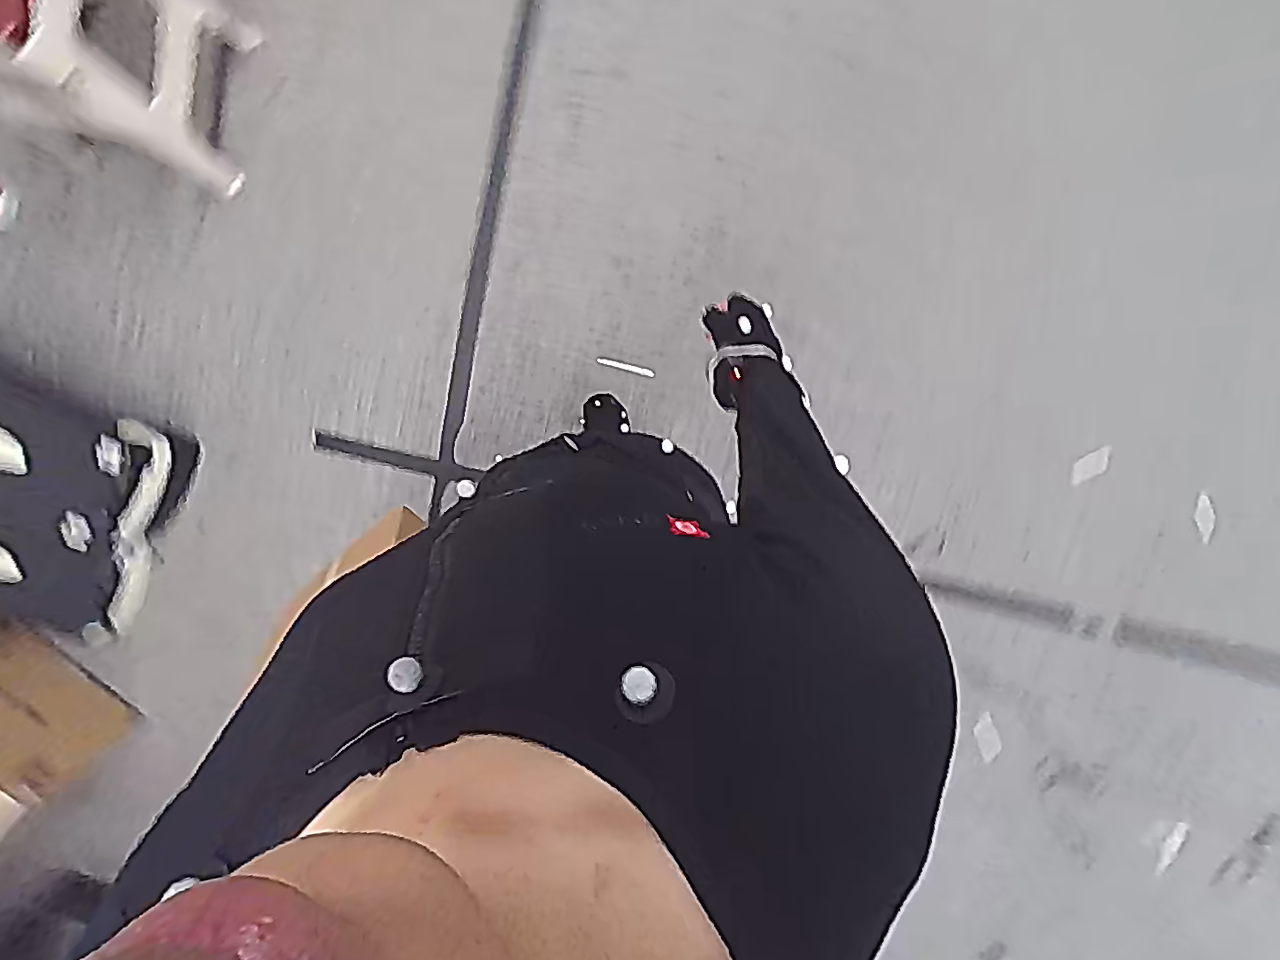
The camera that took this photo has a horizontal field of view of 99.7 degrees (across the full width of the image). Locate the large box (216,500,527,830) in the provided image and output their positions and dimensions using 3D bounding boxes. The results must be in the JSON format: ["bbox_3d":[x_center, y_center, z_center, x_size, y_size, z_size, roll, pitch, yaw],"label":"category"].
[{"bbox_3d":[-0.439,0.304,0.977,0.320,0.408,0.320,-41,118,0],"label":"large box"}]
